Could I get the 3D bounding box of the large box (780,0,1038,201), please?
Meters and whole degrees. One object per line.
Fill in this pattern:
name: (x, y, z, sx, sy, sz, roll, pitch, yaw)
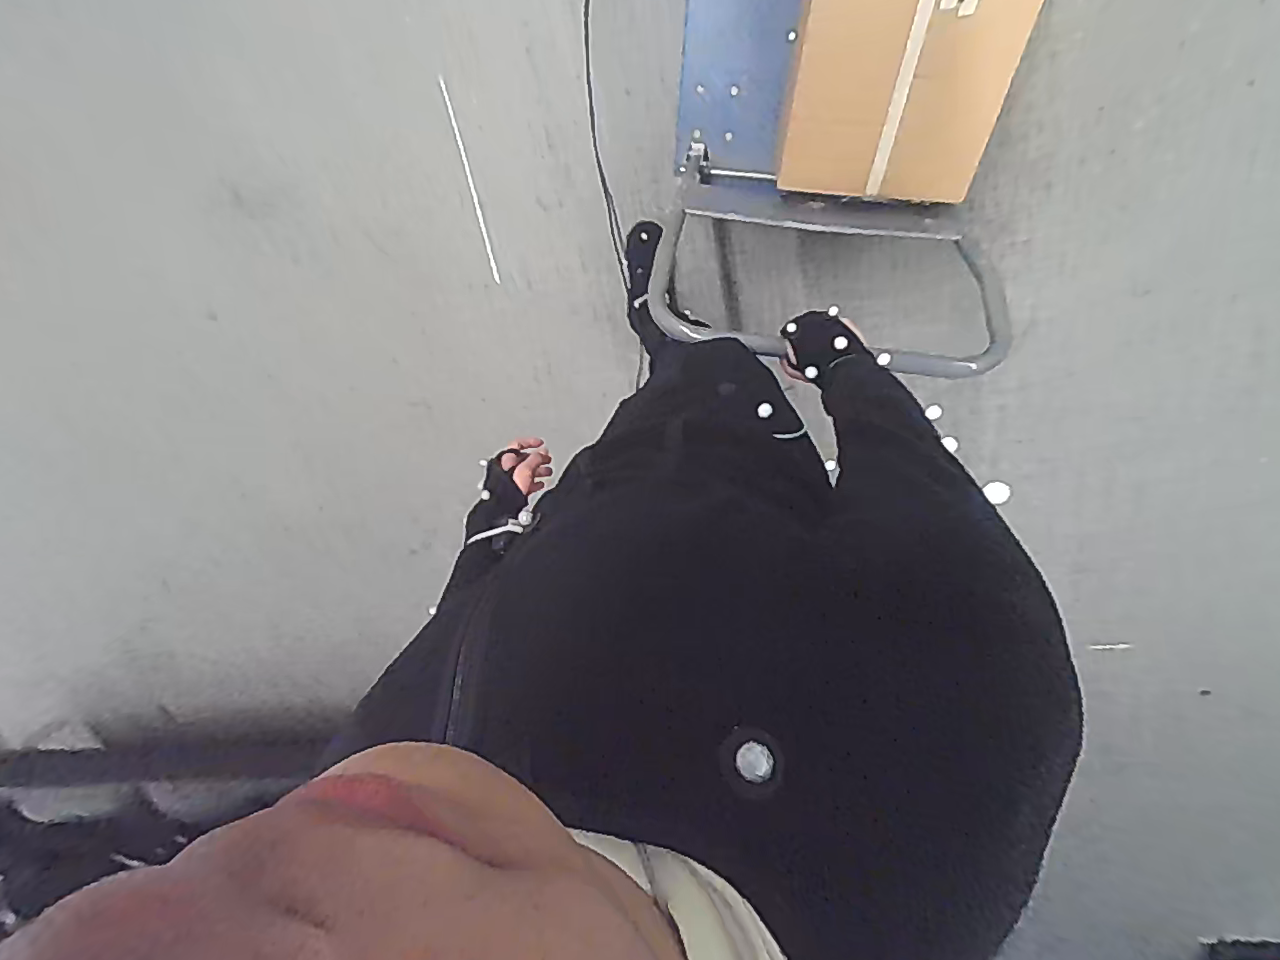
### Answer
large box: (0.428, -0.738, 0.918, 0.320, 0.320, 0.408, 8, 132, 5)
